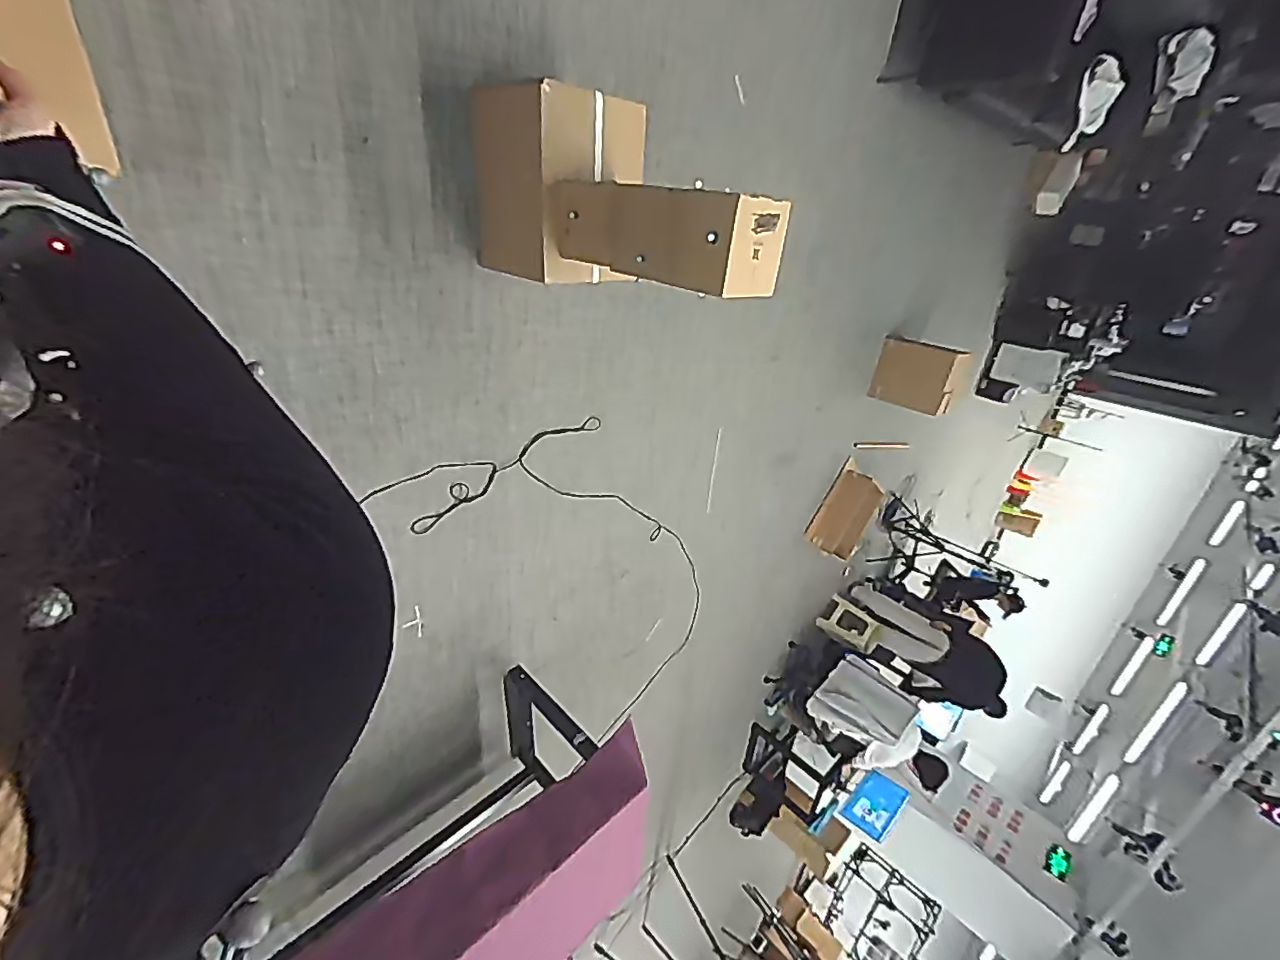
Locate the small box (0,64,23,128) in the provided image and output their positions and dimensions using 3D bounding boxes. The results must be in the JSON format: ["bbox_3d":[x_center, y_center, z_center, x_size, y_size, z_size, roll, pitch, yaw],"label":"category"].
[{"bbox_3d":[-0.783,-0.462,0.544,0.179,0.176,0.168,-21,126,-38],"label":"small box"}]

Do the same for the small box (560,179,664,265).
[{"bbox_3d":[-0.068,-0.605,1.264,0.179,0.176,0.168,-22,128,-38],"label":"small box"}]

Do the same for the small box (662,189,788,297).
[{"bbox_3d":[0.162,-0.469,1.070,0.168,0.176,0.179,-18,127,-40],"label":"small box"}]

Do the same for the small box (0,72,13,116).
[{"bbox_3d":[-0.670,-0.406,0.440,0.168,0.176,0.179,-26,129,-37],"label":"small box"}]

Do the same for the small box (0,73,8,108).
[{"bbox_3d":[-0.555,-0.344,0.339,0.168,0.176,0.179,-24,129,-38],"label":"small box"}]
